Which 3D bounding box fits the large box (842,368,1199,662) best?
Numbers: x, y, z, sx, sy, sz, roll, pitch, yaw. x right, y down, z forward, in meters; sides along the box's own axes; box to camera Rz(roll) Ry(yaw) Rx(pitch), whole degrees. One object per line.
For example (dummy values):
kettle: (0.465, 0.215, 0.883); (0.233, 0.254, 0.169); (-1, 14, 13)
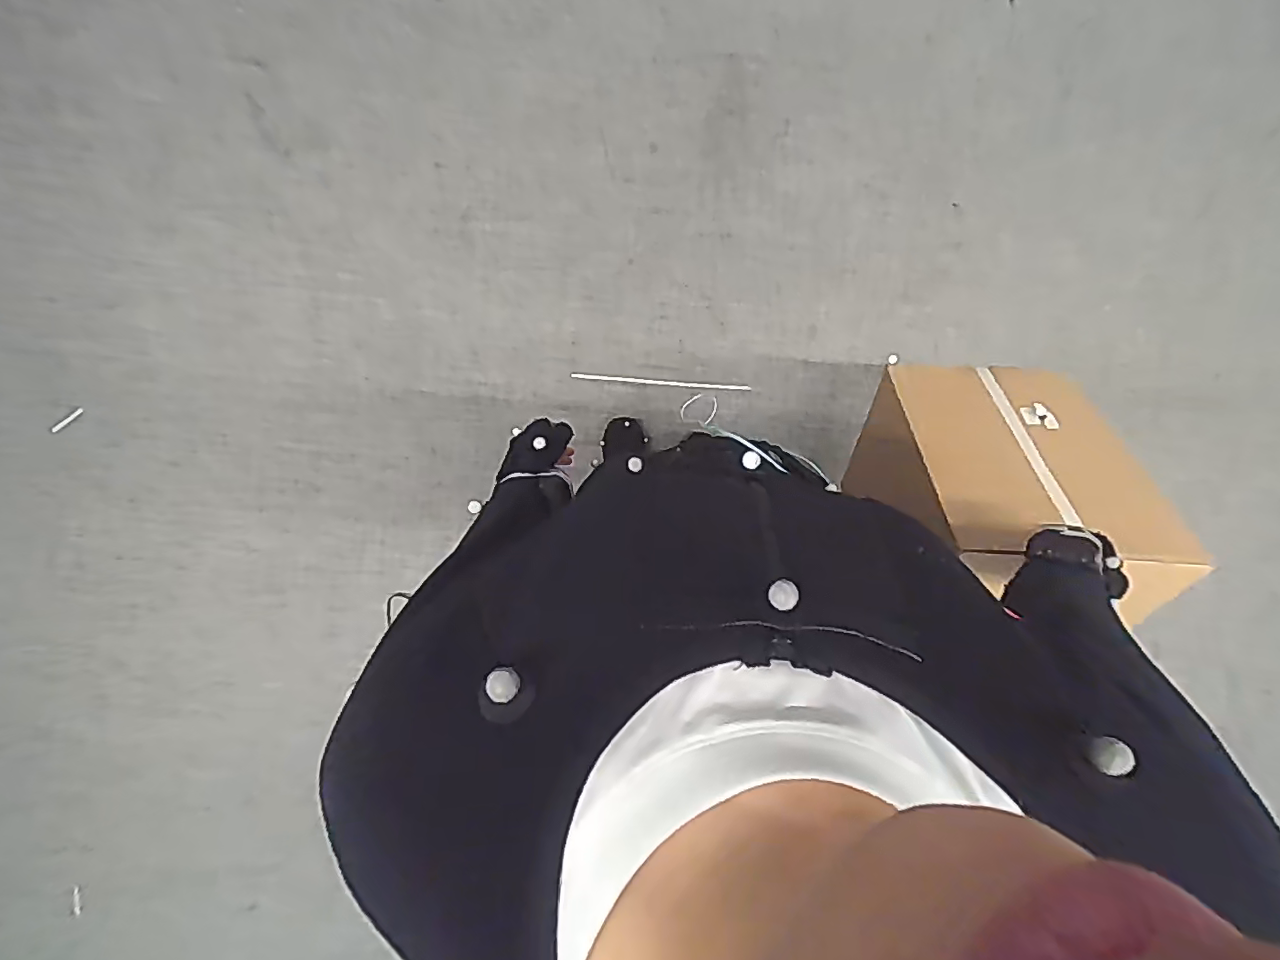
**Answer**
large box: (0.572, 0.056, 0.931); (0.320, 0.408, 0.320); (4, 137, 3)
